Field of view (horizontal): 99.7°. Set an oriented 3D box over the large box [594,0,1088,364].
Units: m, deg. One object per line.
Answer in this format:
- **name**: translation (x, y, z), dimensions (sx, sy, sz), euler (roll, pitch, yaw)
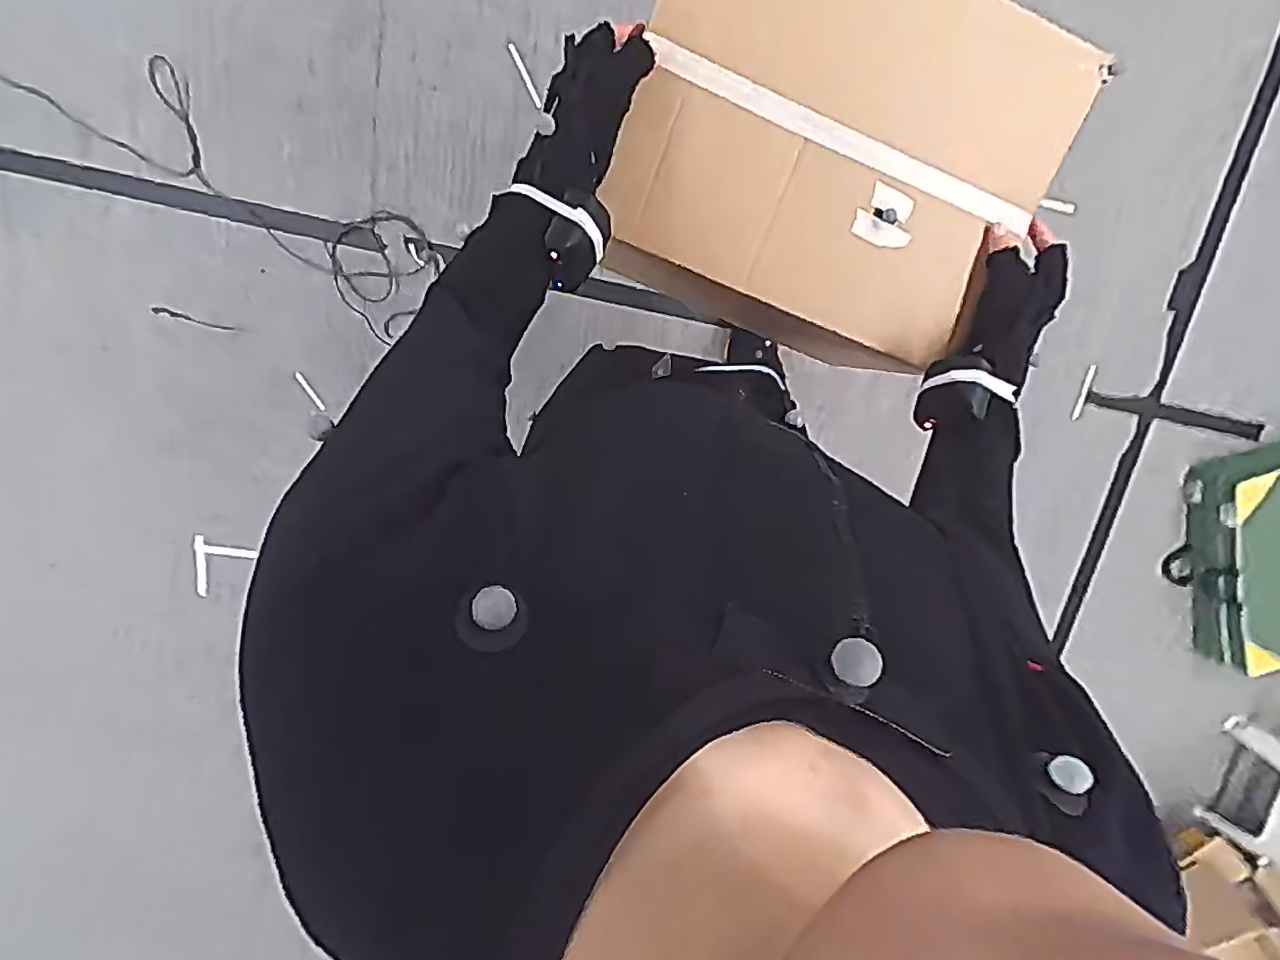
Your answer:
- **large box**: translation (0.181, -0.364, 0.664), dimensions (0.408, 0.320, 0.320), euler (20, 104, -8)
